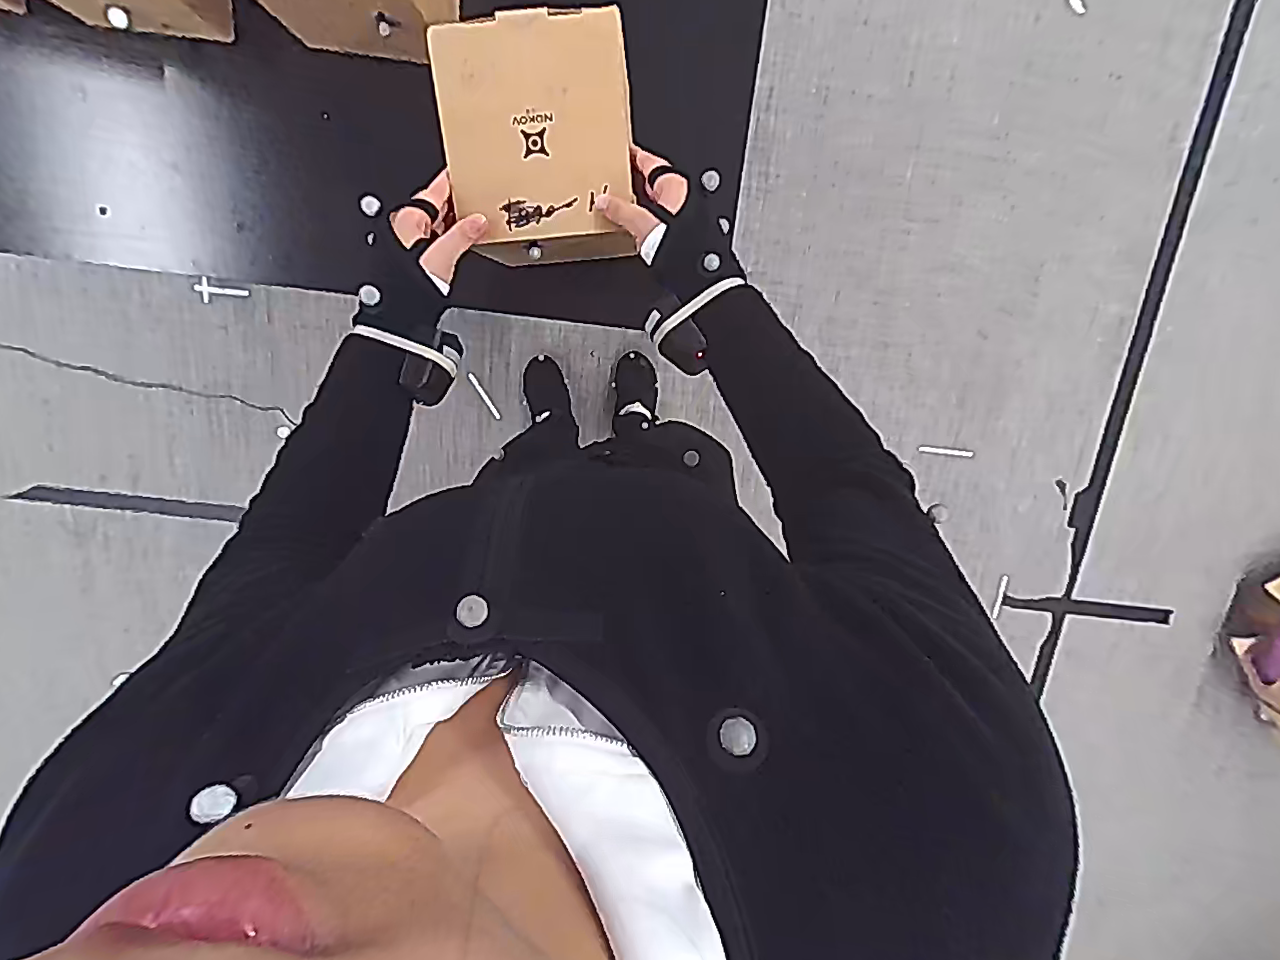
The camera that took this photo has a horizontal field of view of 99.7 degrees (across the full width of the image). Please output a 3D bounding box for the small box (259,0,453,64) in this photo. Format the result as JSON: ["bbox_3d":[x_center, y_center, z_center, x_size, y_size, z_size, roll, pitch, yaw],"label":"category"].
[{"bbox_3d":[-0.289,-0.549,0.531,0.179,0.176,0.168,7,102,-1],"label":"small box"}]

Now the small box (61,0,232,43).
[{"bbox_3d":[-0.536,-0.574,0.519,0.168,0.176,0.179,5,105,-3],"label":"small box"}]

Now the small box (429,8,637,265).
[{"bbox_3d":[-0.092,-0.328,0.554,0.168,0.176,0.179,-4,106,3],"label":"small box"}]
